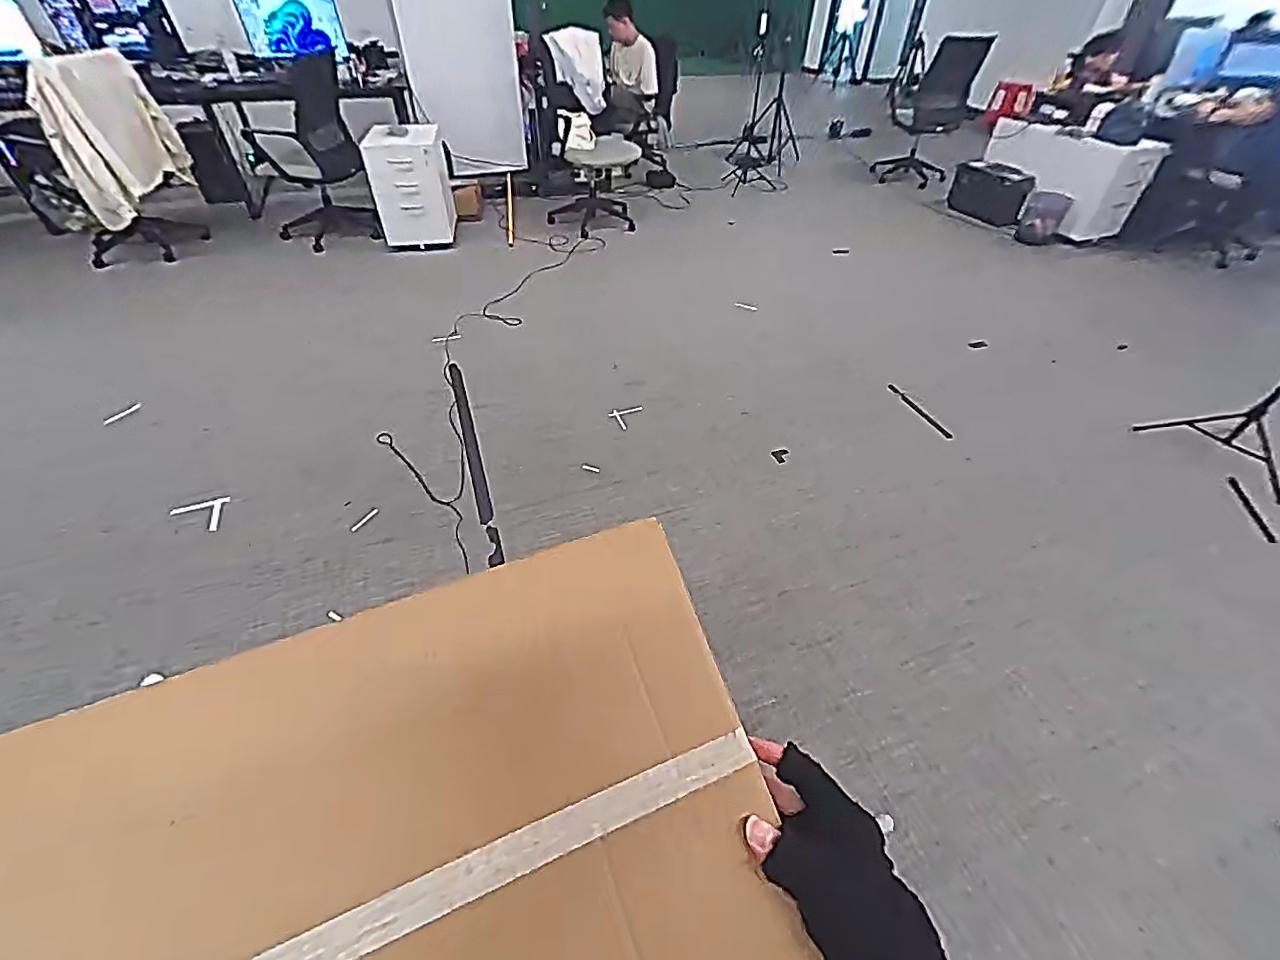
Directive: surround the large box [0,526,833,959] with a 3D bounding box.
[{"bbox_3d":[-0.139,0.278,0.434,0.408,0.320,0.320,-18,75,-14],"label":"large box"}]
